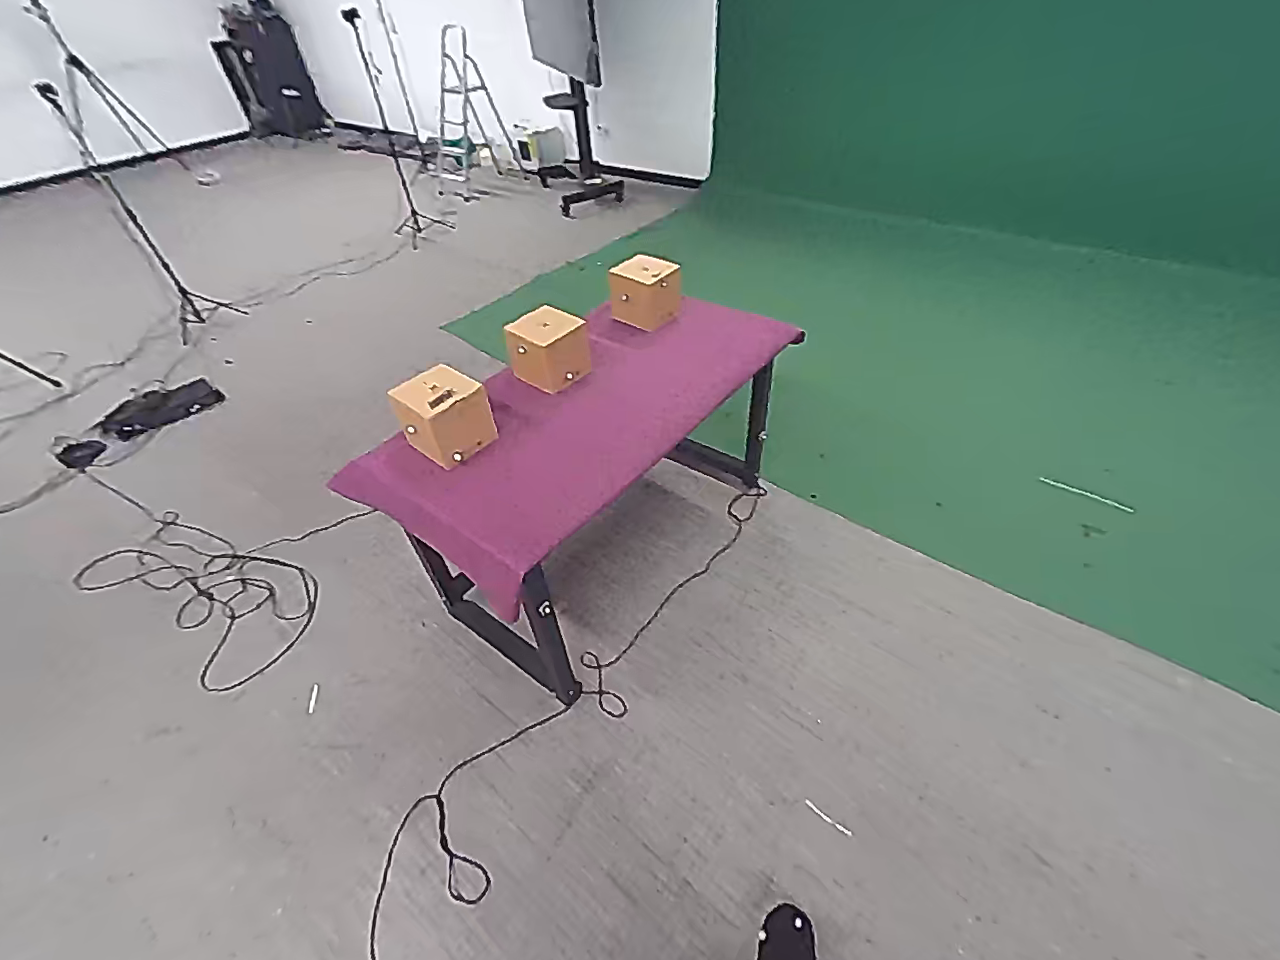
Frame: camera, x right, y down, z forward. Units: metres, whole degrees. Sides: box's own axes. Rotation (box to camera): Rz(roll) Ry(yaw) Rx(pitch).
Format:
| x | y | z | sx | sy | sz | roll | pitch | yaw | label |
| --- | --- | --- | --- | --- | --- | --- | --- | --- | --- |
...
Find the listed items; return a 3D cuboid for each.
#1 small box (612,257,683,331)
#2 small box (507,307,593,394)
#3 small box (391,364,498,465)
| x | y | z | sx | sy | sz | roll | pitch | yaw | label |
| --- | --- | --- | --- | --- | --- | --- | --- | --- | --- |
| 0.027 | -0.620 | 1.804 | 0.179 | 0.176 | 0.168 | 28 | 54 | 29 | small box |
| -0.257 | -0.376 | 1.581 | 0.179 | 0.176 | 0.168 | 31 | 55 | 30 | small box |
| -0.486 | -0.160 | 1.372 | 0.179 | 0.176 | 0.168 | 29 | 53 | 29 | small box |
